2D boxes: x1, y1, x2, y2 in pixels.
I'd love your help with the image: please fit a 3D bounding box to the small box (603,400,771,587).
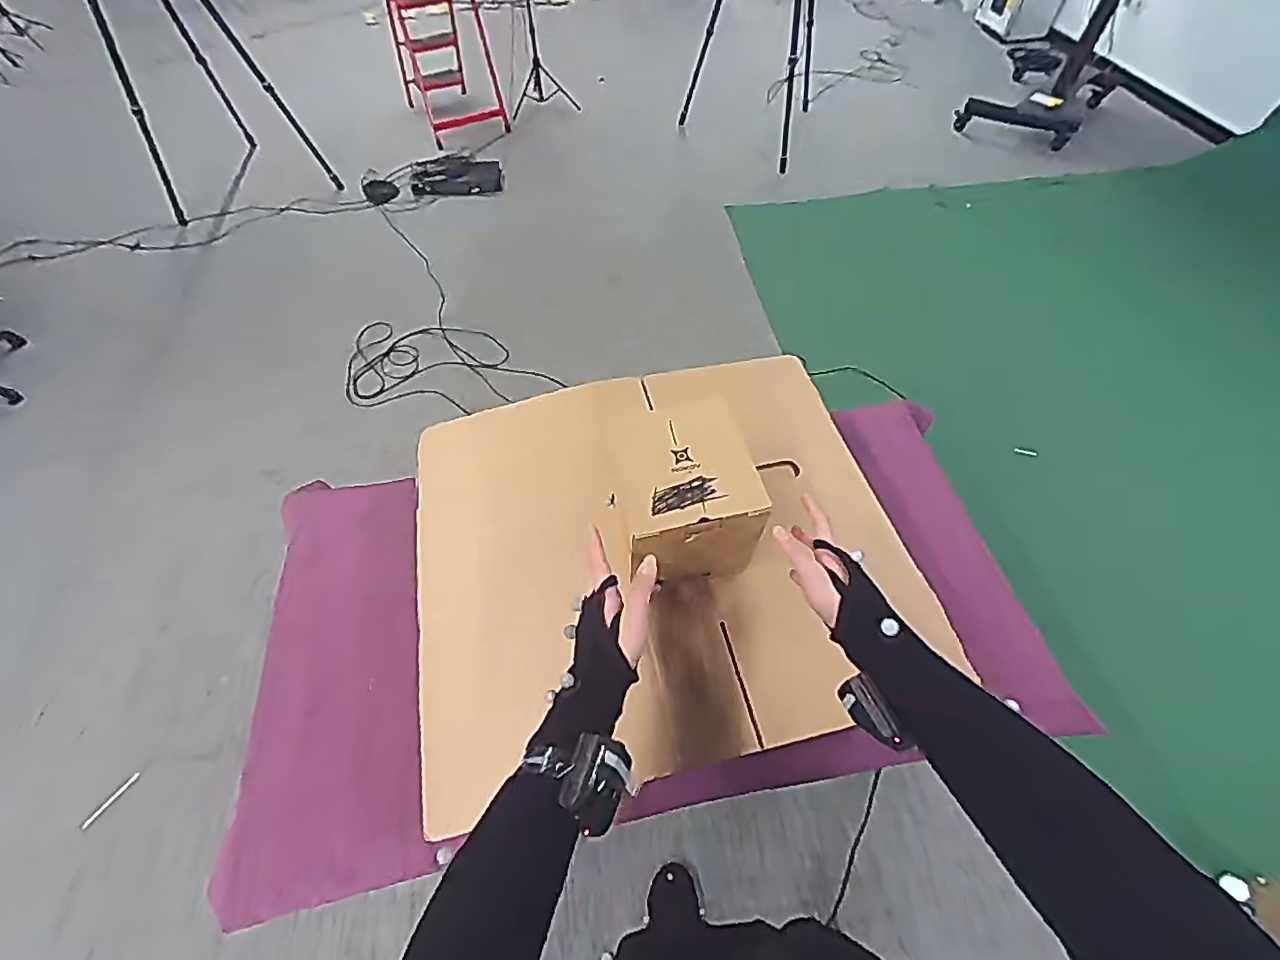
[{"bbox_3d":[0.050,0.025,0.704,0.168,0.176,0.179,-10,56,-9],"label":"small box"}]
